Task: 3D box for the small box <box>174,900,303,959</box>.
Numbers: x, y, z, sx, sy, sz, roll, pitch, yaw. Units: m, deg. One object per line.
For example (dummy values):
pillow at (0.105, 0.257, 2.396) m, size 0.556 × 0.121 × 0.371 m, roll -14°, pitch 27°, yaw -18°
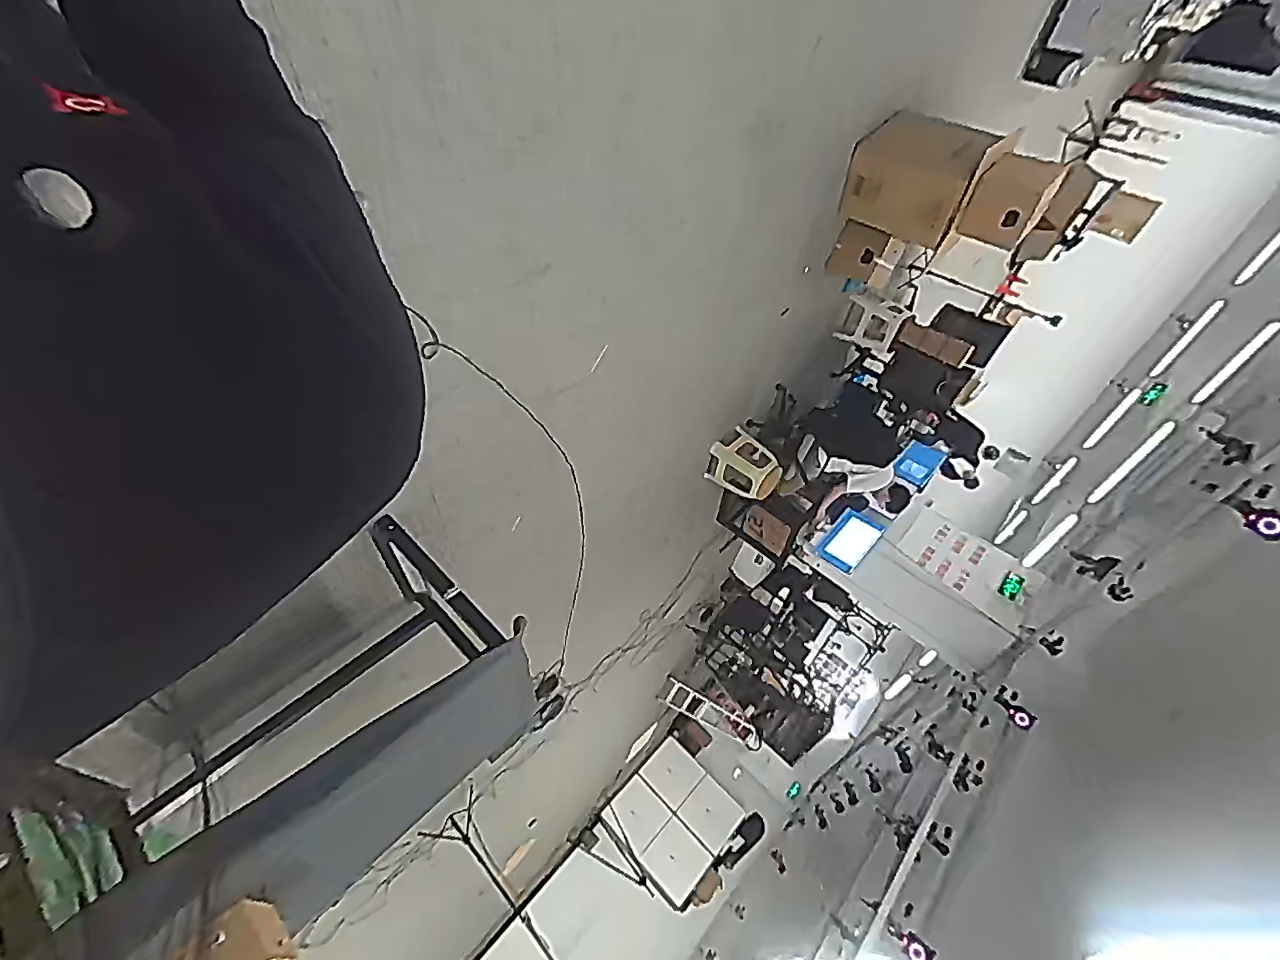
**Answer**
small box at (-0.943, 1.138, 1.274) m, size 0.168 × 0.176 × 0.179 m, roll -39°, pitch 150°, yaw -32°
